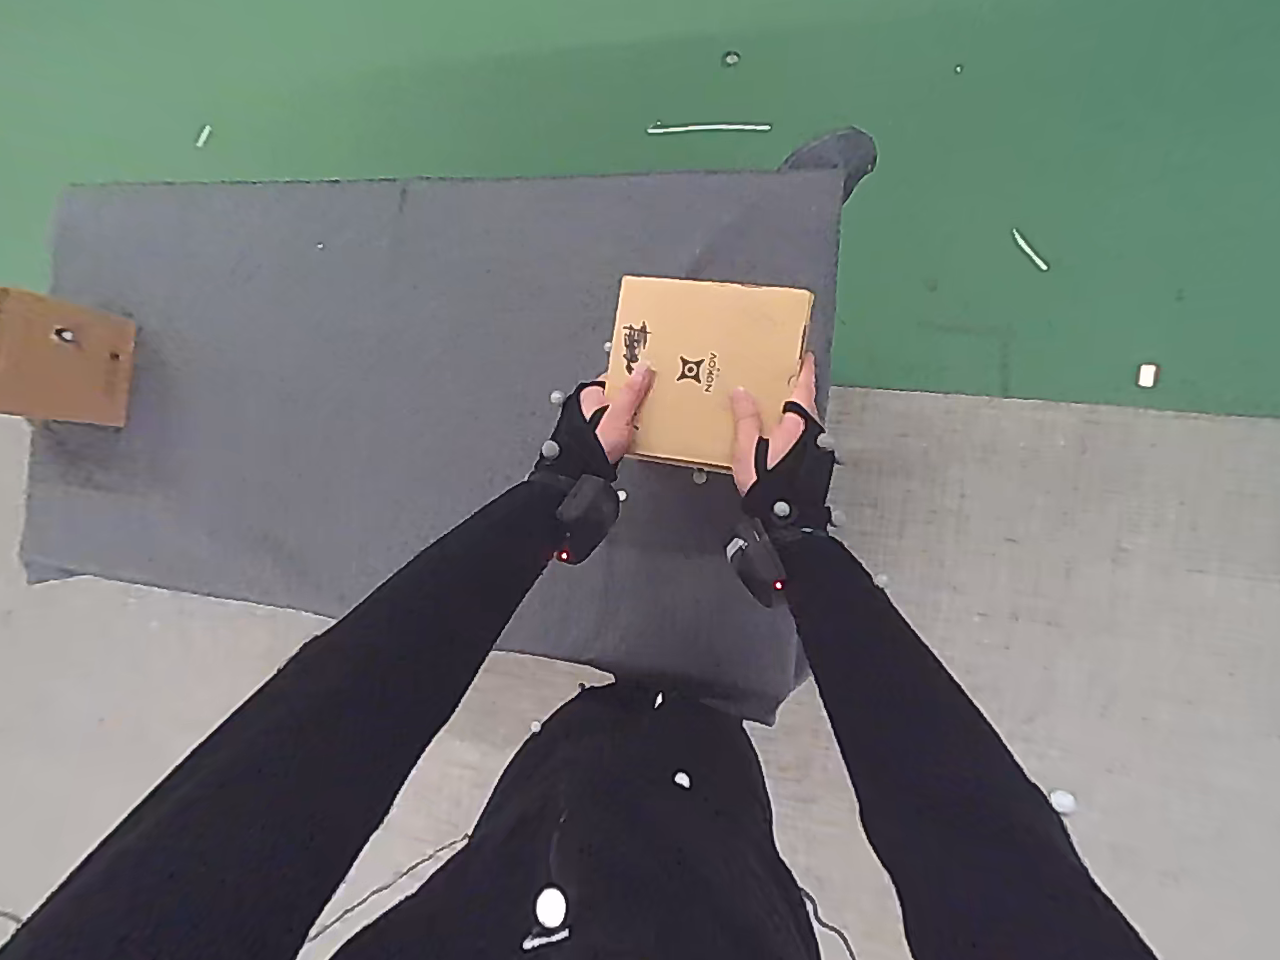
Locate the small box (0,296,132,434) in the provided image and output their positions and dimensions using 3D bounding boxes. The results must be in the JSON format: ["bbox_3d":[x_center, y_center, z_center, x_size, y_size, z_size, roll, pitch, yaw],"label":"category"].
[{"bbox_3d":[-0.881,-0.163,0.764,0.179,0.176,0.168,9,88,11],"label":"small box"}]

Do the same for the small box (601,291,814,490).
[{"bbox_3d":[0.075,-0.085,0.577,0.179,0.176,0.168,9,91,12],"label":"small box"}]
